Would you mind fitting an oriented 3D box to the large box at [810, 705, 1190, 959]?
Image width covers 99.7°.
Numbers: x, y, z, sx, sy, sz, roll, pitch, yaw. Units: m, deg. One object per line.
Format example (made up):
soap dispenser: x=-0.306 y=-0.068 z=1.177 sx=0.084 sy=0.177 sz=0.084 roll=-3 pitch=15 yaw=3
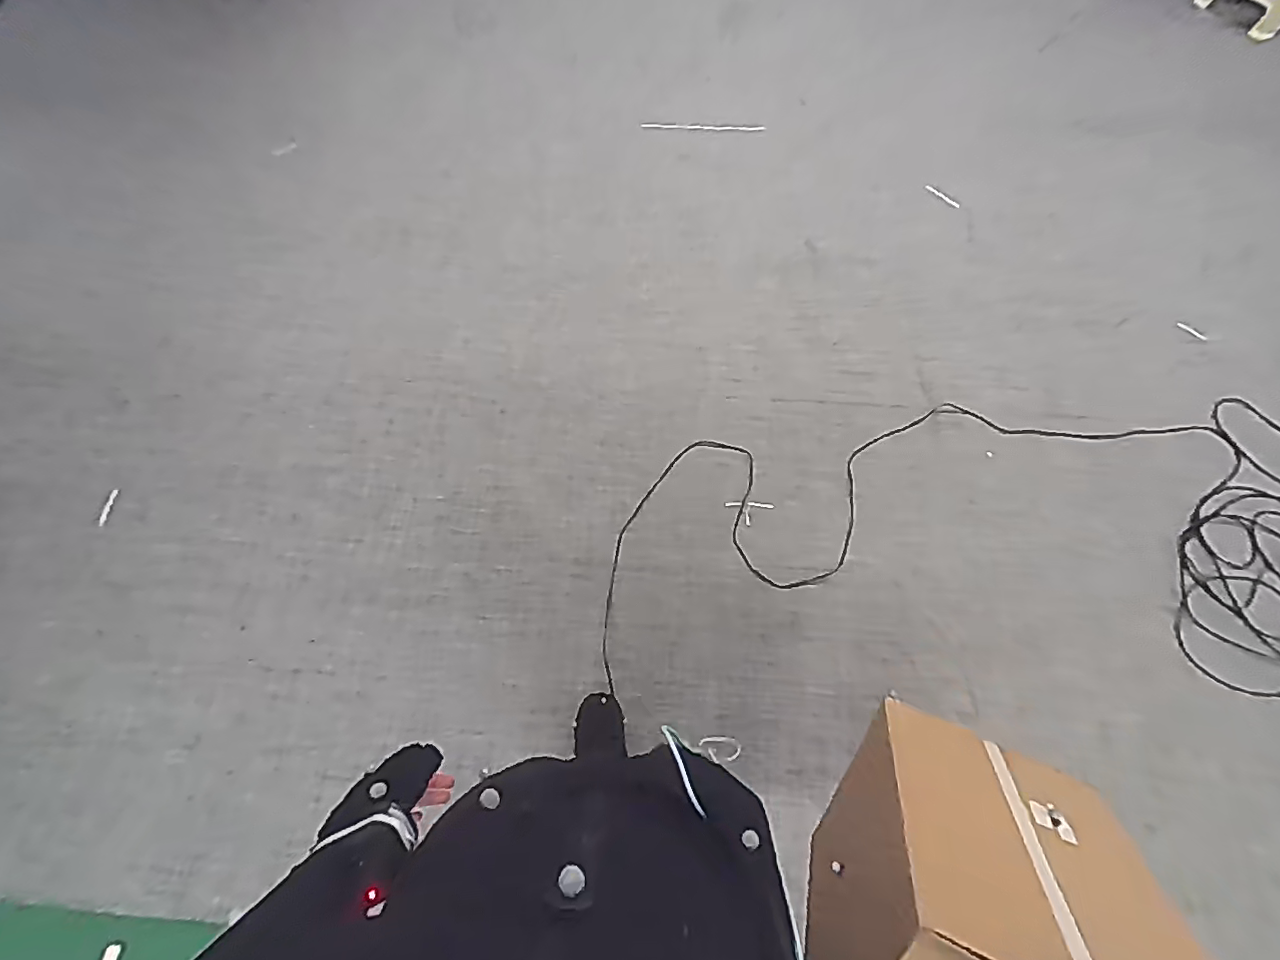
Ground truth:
large box: x=0.420 y=0.587 z=0.692 sx=0.320 sy=0.408 sz=0.320 roll=23 pitch=106 yaw=14
